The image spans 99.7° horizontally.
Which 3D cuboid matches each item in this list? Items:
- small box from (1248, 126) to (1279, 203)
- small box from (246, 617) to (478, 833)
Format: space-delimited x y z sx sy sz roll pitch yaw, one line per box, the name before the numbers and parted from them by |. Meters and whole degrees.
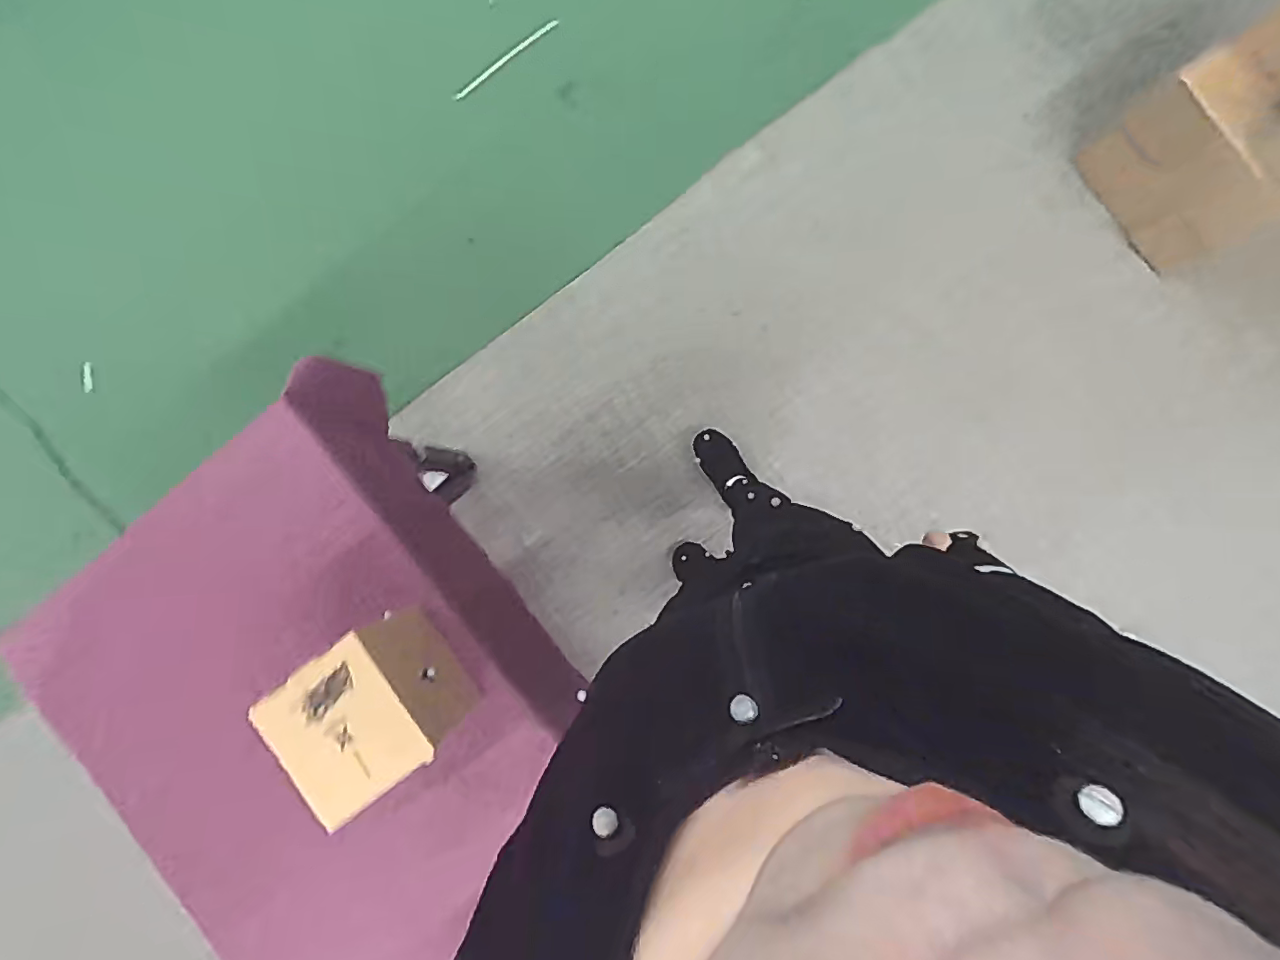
small box | 1.387 -0.678 1.057 0.179 0.176 0.168 -32 86 0
small box | -0.350 0.301 0.713 0.168 0.176 0.179 -38 86 2
